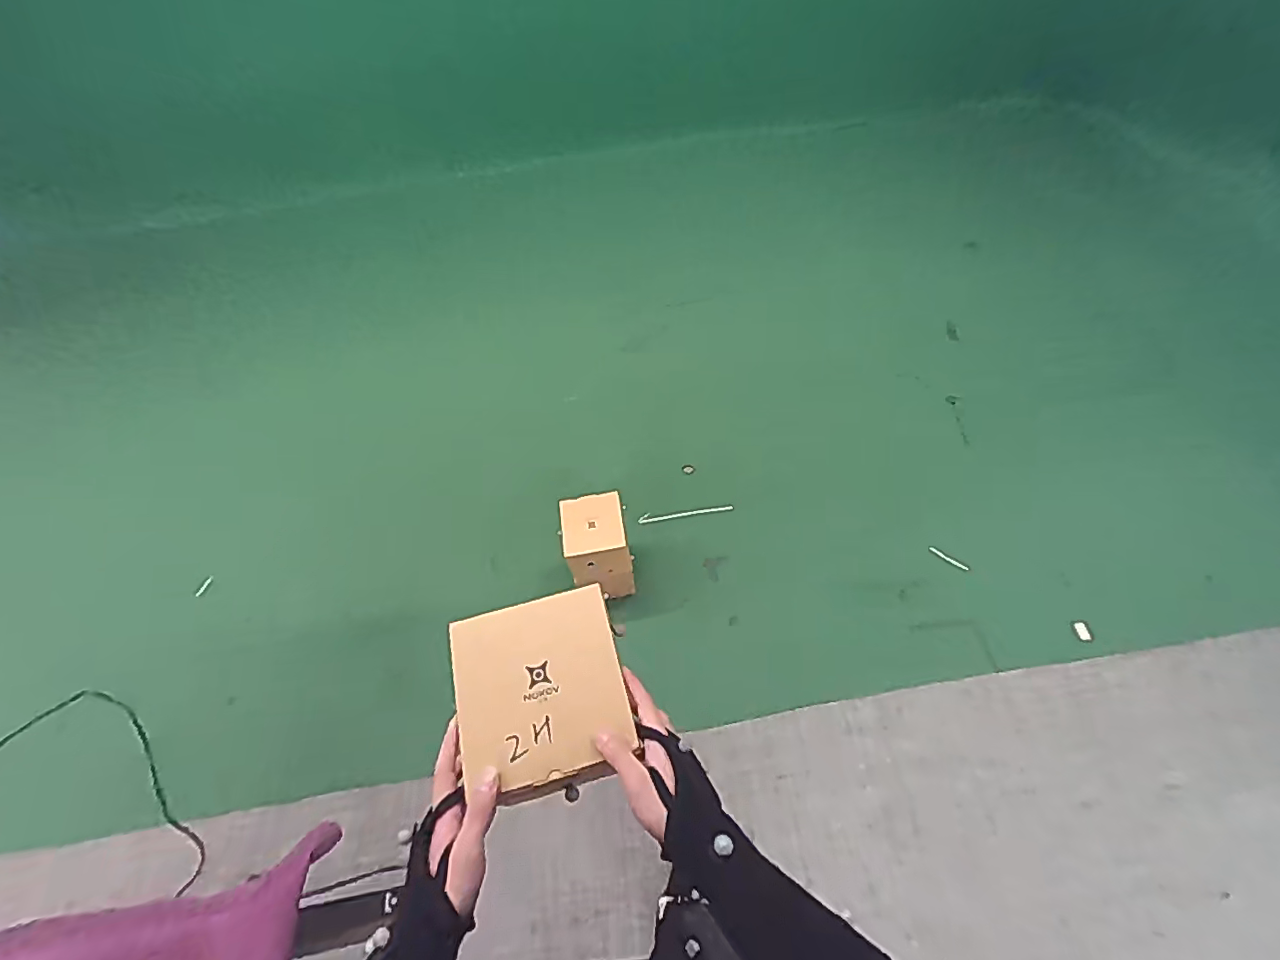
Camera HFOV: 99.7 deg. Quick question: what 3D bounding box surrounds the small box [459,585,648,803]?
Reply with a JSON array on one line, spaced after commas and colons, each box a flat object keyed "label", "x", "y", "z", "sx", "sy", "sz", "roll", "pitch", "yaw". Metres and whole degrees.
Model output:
[{"label": "small box", "x": -0.091, "y": 0.244, "z": 0.606, "sx": 0.168, "sy": 0.176, "sz": 0.179, "roll": -14, "pitch": 59, "yaw": -6}]

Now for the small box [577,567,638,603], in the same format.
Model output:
[{"label": "small box", "x": -0.104, "y": 0.263, "z": 1.642, "sx": 0.168, "sy": 0.176, "sz": 0.179, "roll": -10, "pitch": 57, "yaw": -1}]

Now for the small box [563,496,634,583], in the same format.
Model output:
[{"label": "small box", "x": -0.113, "y": 0.173, "z": 1.509, "sx": 0.168, "sy": 0.176, "sz": 0.179, "roll": -11, "pitch": 55, "yaw": -1}]
